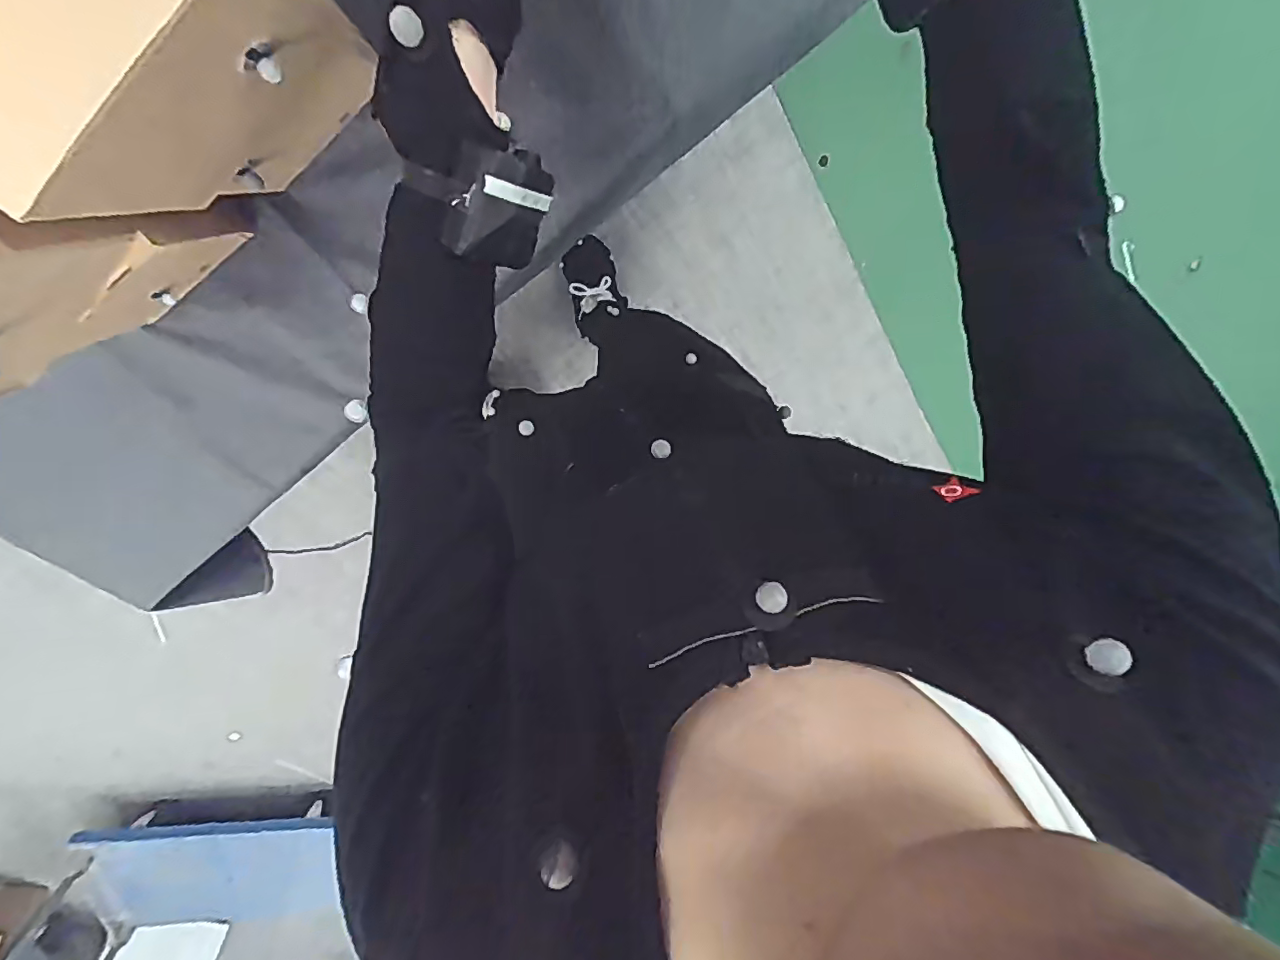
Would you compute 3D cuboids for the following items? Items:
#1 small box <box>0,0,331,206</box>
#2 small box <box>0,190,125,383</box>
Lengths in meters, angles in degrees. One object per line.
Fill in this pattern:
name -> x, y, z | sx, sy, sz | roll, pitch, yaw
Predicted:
small box -> -0.300, -0.277, 0.285 | 0.179, 0.176, 0.168 | -37, 117, 13
small box -> -0.483, -0.150, 0.327 | 0.179, 0.176, 0.168 | -40, 119, 14
